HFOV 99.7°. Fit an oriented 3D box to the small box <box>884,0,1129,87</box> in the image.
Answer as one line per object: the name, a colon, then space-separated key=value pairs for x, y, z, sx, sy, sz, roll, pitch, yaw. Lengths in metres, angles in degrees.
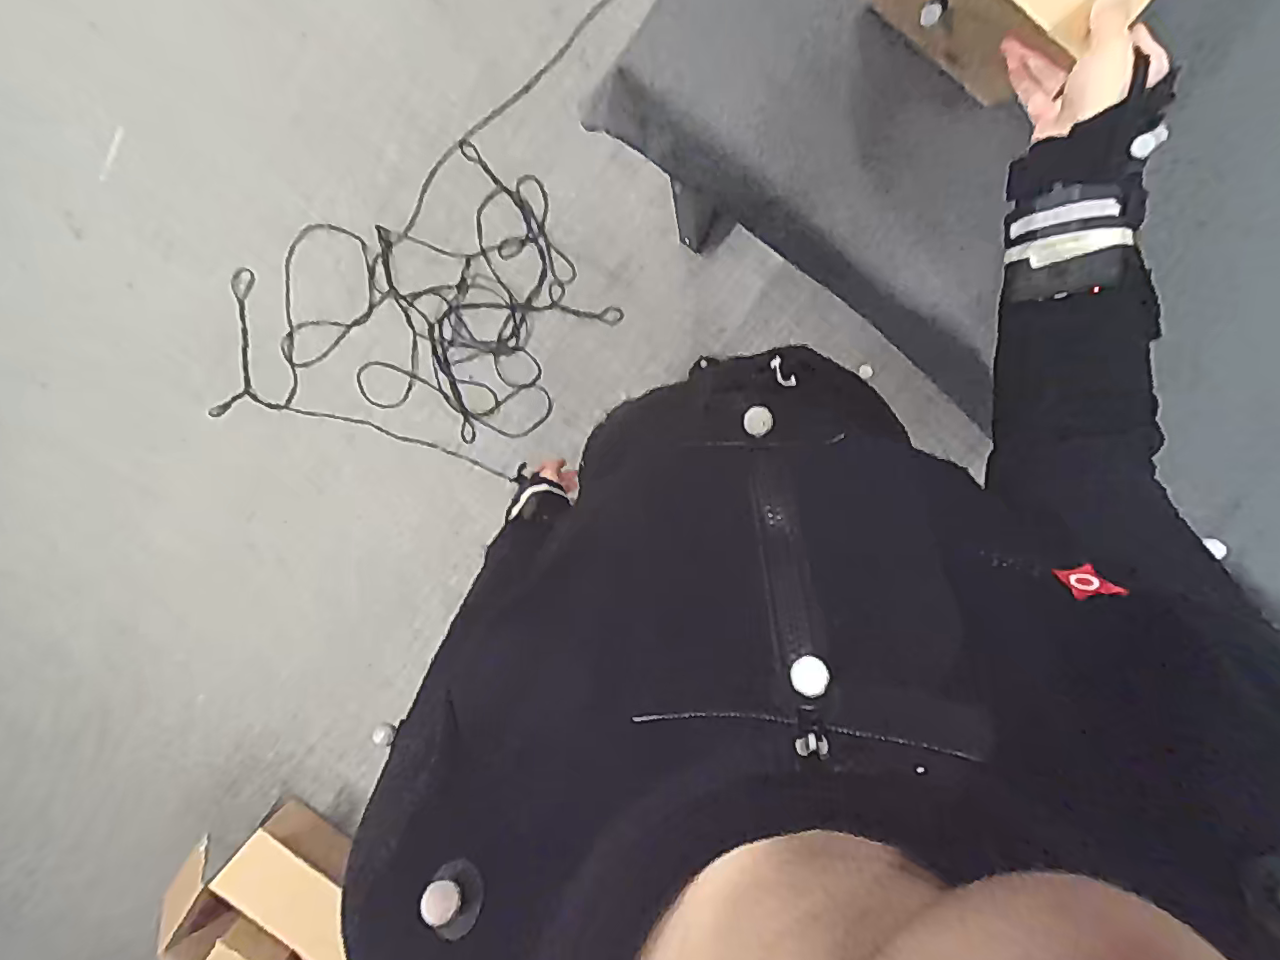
small box: x=0.293 y=-0.431 z=0.389 sx=0.168 sy=0.176 sz=0.179 roll=33 pitch=115 yaw=-8
